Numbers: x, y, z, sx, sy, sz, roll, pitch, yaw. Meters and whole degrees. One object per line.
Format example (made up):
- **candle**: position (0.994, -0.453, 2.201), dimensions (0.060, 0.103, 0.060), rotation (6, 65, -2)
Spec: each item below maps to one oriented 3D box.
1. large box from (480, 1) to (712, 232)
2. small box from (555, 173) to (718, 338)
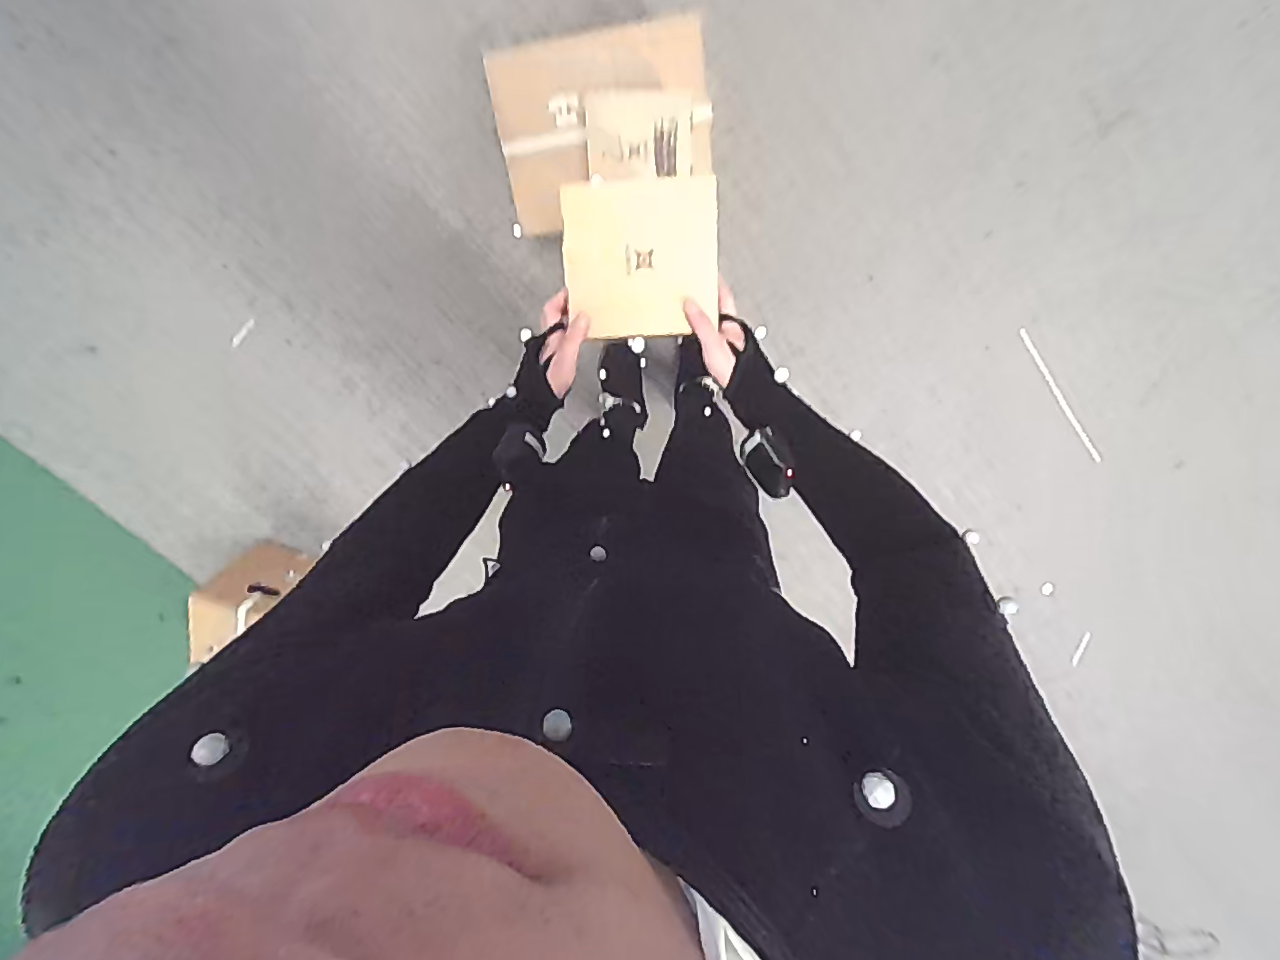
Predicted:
- **large box**: position (-0.065, -0.732, 1.155), dimensions (0.408, 0.320, 0.320), rotation (-7, 113, 7)
- **small box**: position (0.000, -0.268, 0.675), dimensions (0.179, 0.176, 0.168), rotation (-2, 105, 4)
